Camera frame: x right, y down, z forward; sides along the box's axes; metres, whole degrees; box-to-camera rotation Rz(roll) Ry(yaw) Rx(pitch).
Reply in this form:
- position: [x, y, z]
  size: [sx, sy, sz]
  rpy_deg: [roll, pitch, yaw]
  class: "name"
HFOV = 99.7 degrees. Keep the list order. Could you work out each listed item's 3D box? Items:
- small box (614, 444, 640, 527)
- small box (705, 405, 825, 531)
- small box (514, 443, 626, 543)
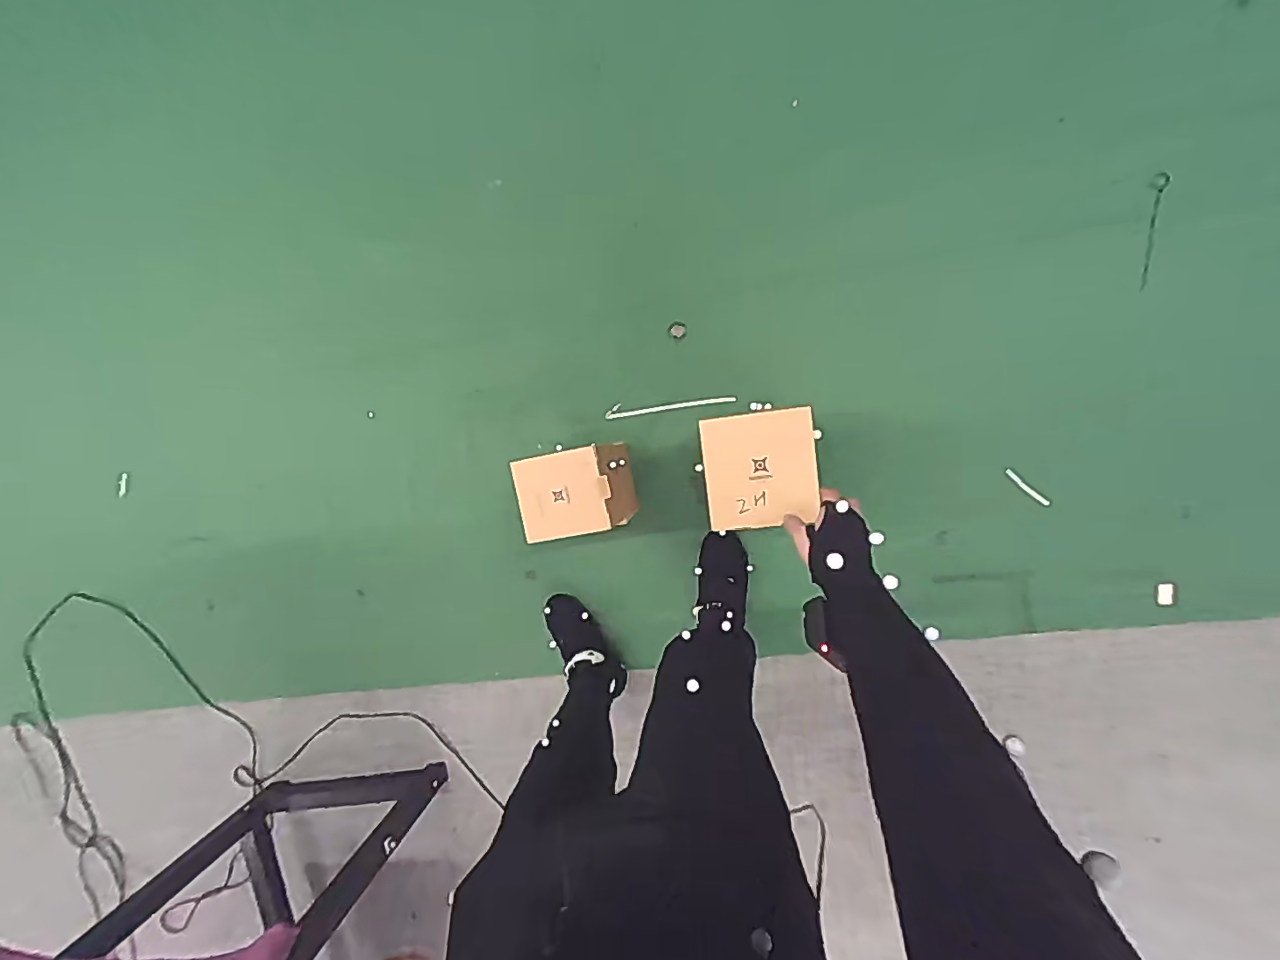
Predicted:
- position: [-0.104, 0.017, 1.270]
  size: [0.168, 0.176, 0.179]
  rpy_deg: [-11, 94, 11]
  class: "small box"
- position: [0.196, -0.024, 0.880]
  size: [0.168, 0.176, 0.179]
  rpy_deg: [-6, 97, 10]
  class: "small box"
- position: [-0.132, 0.021, 1.110]
  size: [0.179, 0.176, 0.168]
  rpy_deg: [-10, 94, 11]
  class: "small box"
